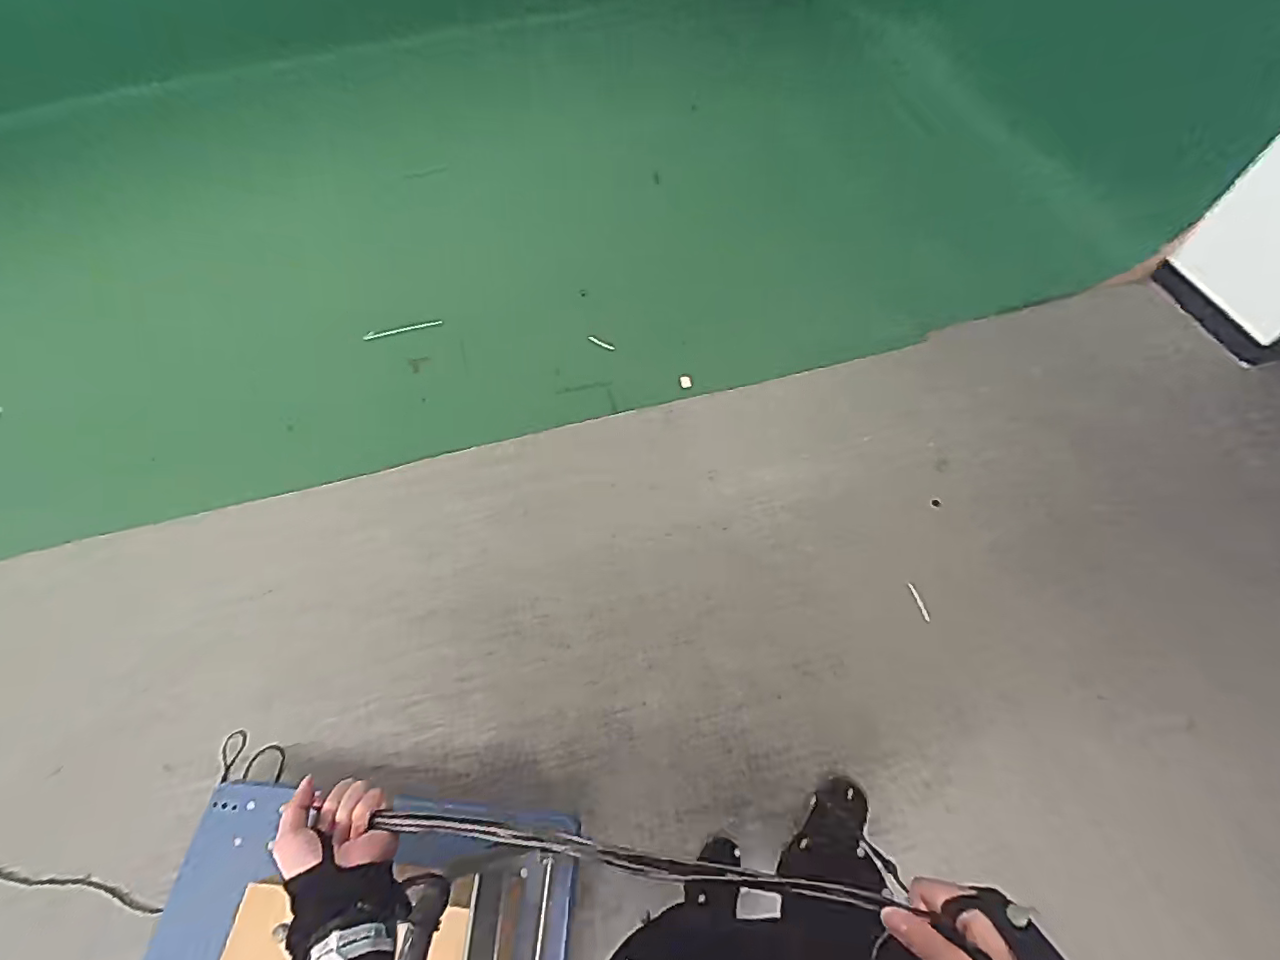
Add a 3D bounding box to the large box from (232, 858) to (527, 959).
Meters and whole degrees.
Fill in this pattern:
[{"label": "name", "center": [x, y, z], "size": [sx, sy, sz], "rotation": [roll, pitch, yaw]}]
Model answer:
[{"label": "large box", "center": [-0.450, 0.890, 0.958], "size": [0.408, 0.320, 0.320], "rotation": [1, 61, 6]}]
